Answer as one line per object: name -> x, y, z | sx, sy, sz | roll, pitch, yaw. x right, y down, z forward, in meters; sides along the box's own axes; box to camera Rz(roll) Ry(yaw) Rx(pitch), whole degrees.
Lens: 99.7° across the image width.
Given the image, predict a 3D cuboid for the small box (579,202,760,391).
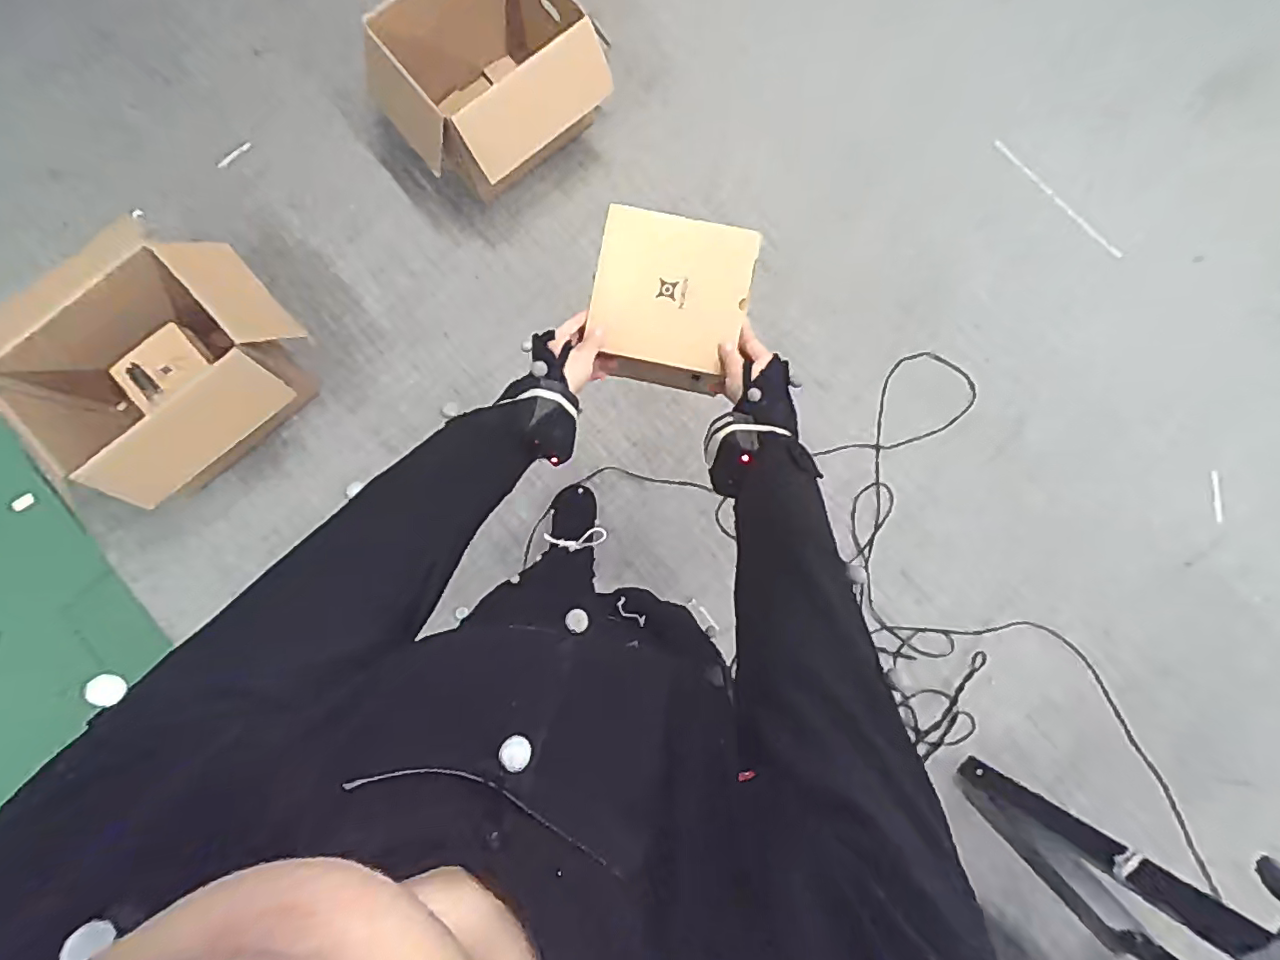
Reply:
small box -> 0.033, -0.214, 0.679 | 0.179, 0.176, 0.168 | 12, 92, 1
